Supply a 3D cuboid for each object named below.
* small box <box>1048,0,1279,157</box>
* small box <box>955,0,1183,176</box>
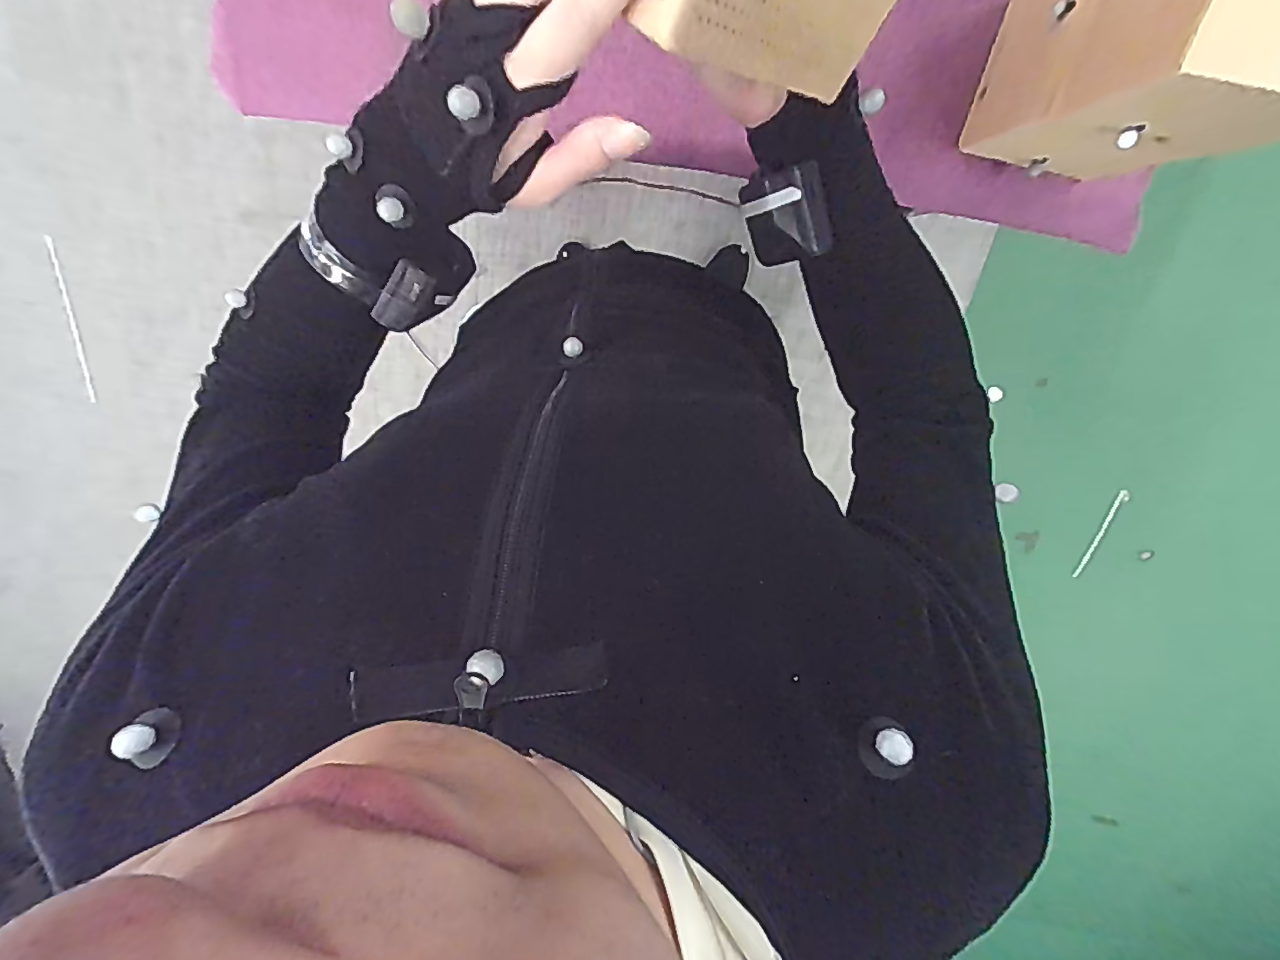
[{"bbox_3d":[0.498,-0.397,0.451,0.168,0.176,0.179,12,112,0],"label":"small box"},{"bbox_3d":[0.502,-0.455,0.604,0.179,0.176,0.168,12,111,-2],"label":"small box"}]
